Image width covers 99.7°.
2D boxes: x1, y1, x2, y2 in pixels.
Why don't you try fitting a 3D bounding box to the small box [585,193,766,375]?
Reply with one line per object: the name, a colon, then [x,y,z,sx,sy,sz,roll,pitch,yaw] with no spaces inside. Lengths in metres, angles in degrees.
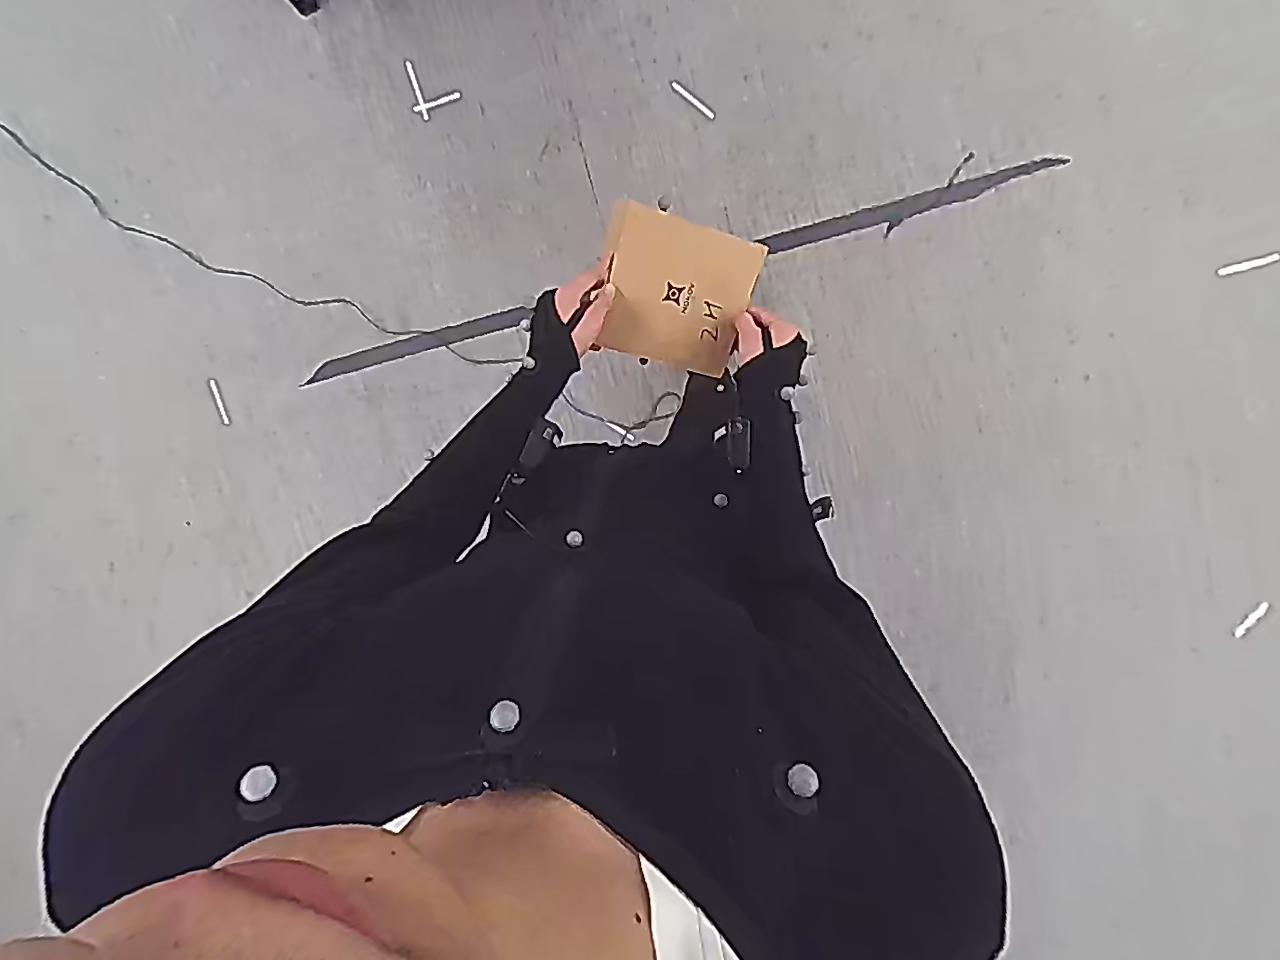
small box: [0.031,-0.256,0.707,0.179,0.176,0.168,12,113,-15]
